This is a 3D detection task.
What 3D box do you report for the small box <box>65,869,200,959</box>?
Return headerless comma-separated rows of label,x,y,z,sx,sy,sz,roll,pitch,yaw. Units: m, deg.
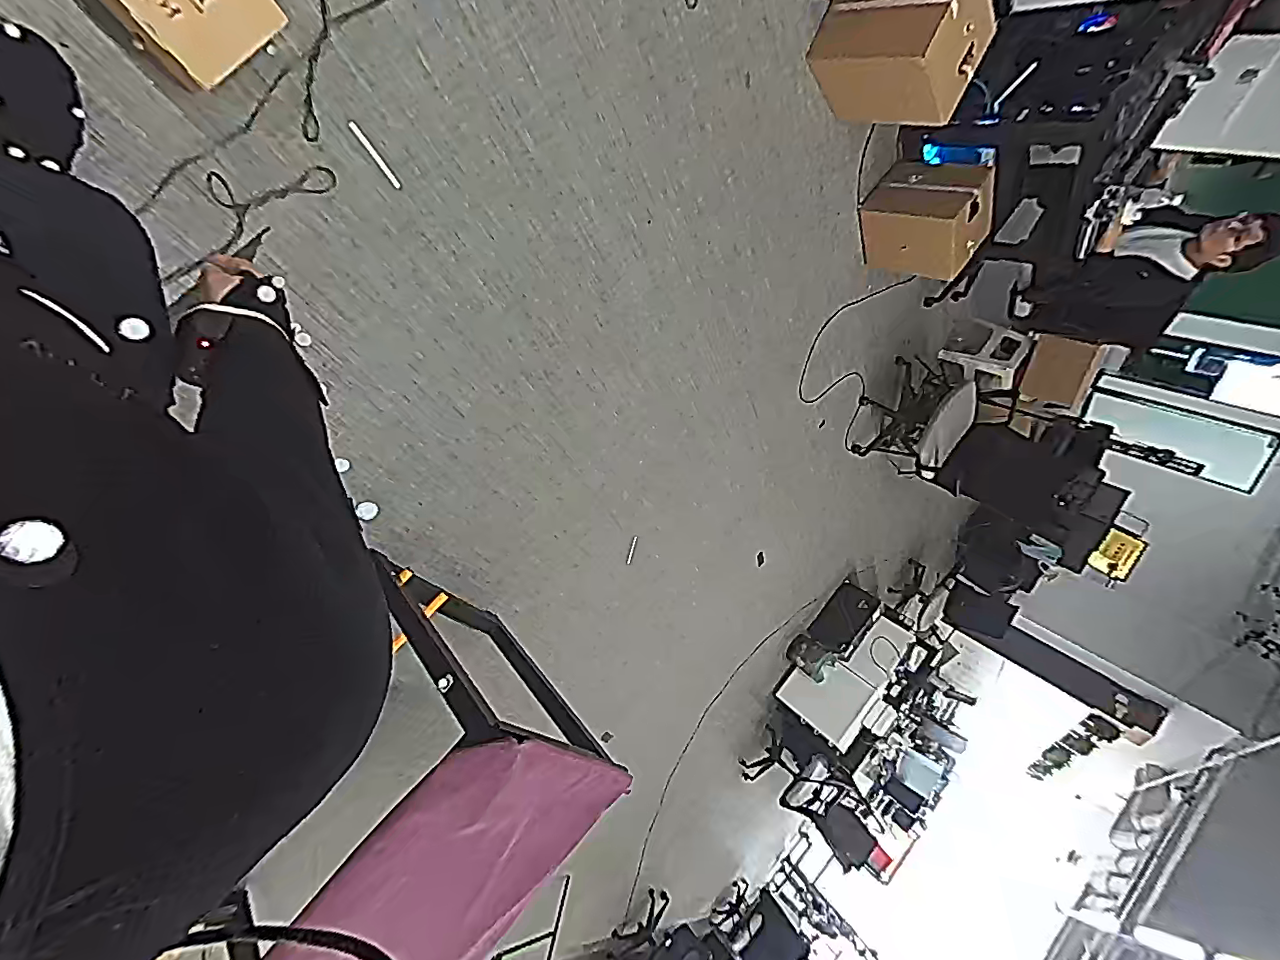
small box,-1.218,1.072,1.296,0.168,0.176,0.179,-48,141,-12
